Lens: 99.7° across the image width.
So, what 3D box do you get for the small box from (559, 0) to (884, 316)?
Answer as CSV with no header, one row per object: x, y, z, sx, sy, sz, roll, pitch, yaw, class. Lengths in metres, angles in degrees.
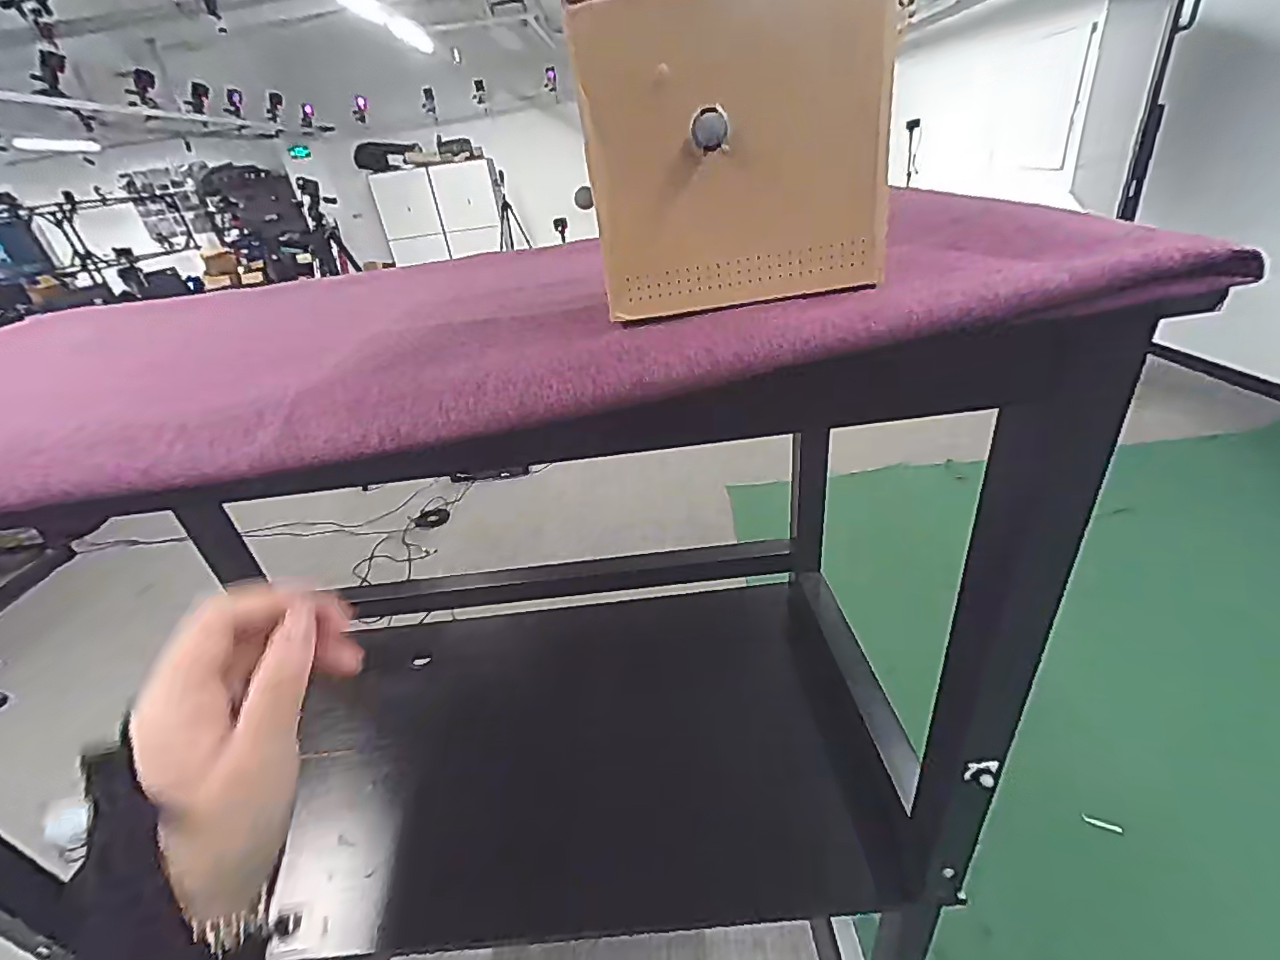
0.056,-0.222,0.378,0.179,0.176,0.168,-8,28,4,small box
